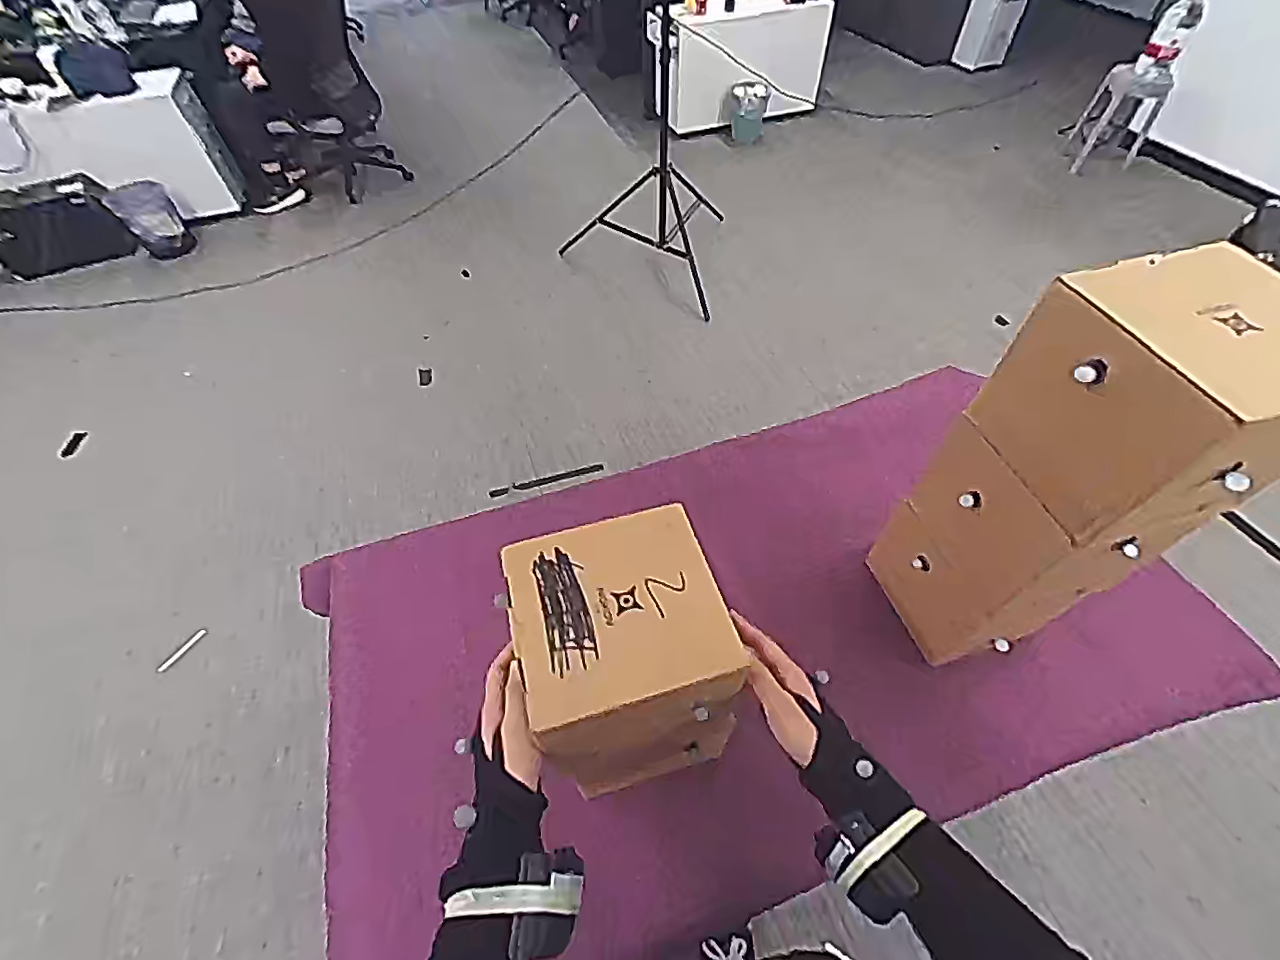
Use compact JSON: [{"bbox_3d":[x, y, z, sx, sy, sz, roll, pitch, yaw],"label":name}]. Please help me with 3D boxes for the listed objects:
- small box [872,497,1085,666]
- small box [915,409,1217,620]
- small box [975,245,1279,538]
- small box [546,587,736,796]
[{"bbox_3d":[0.448,0.123,0.732,0.168,0.176,0.179,-14,54,-8],"label":"small box"},{"bbox_3d":[0.443,0.027,0.599,0.168,0.176,0.179,-13,52,-7],"label":"small box"},{"bbox_3d":[0.441,-0.067,0.465,0.168,0.176,0.179,-13,53,-7],"label":"small box"},{"bbox_3d":[-0.003,0.255,0.647,0.179,0.176,0.168,-13,52,-8],"label":"small box"}]
